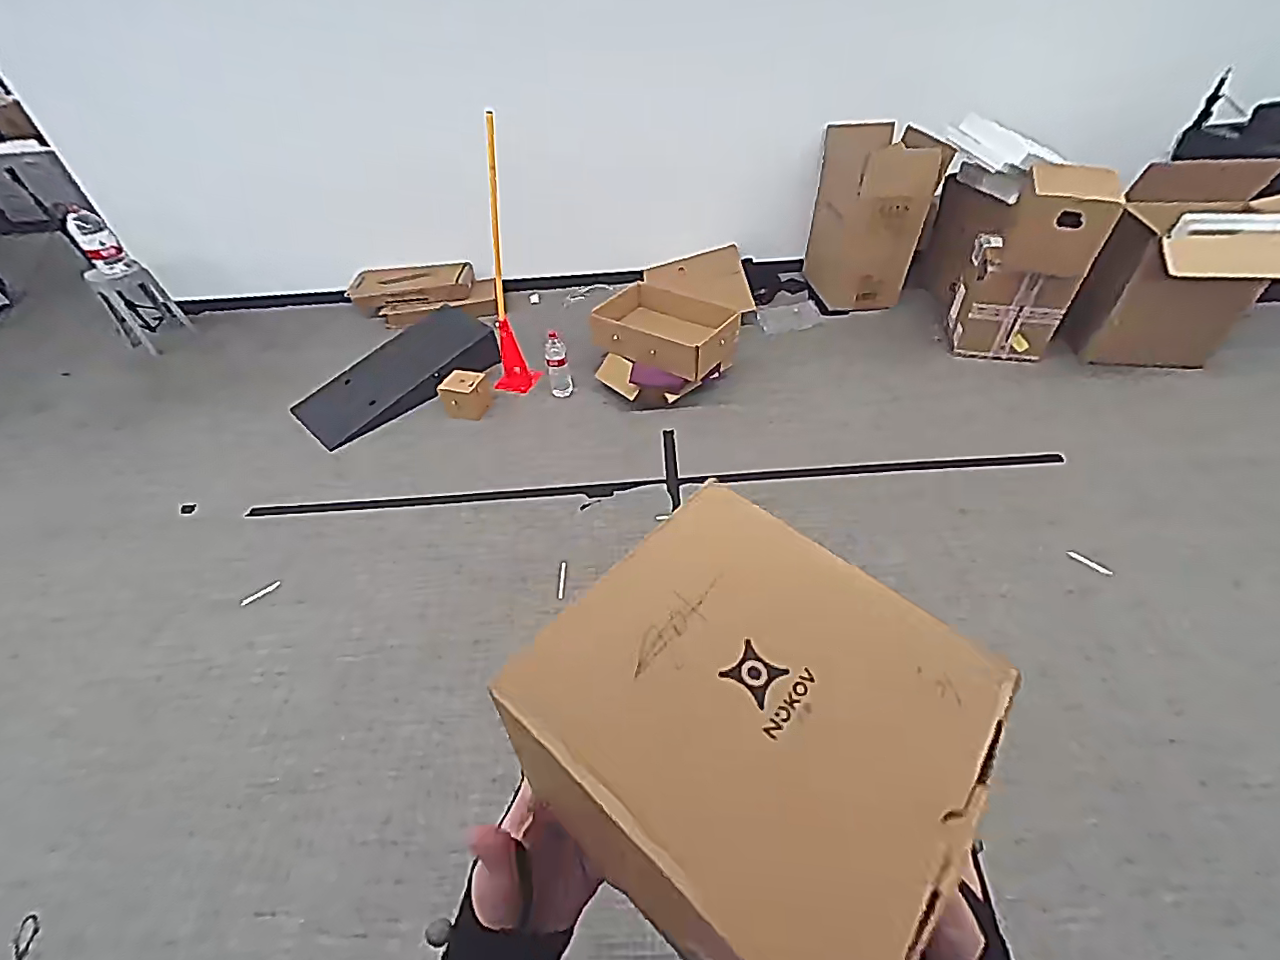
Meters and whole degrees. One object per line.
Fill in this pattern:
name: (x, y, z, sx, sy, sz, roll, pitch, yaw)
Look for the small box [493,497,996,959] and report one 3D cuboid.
small box: (0.048, 0.149, 0.305, 0.179, 0.176, 0.168, 32, 53, 25)
